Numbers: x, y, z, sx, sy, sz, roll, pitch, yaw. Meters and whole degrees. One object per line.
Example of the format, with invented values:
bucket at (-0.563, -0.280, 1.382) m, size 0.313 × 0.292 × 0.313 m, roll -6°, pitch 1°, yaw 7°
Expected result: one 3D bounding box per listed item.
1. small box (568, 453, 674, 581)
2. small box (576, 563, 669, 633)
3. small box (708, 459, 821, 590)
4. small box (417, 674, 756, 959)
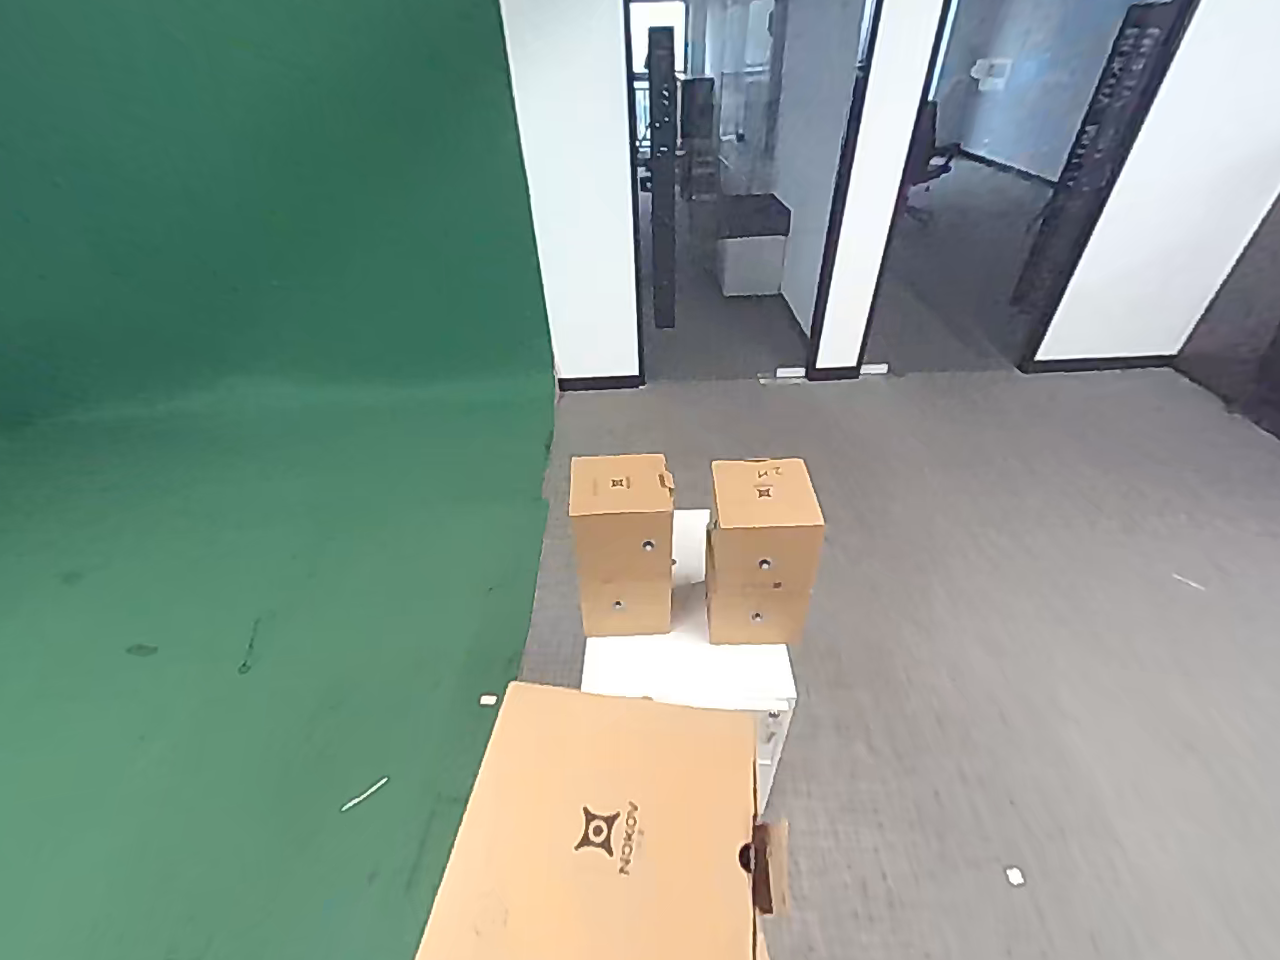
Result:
small box at (-0.036, 0.068, 0.997) m, size 0.179 × 0.176 × 0.168 m, roll -3°, pitch 39°, yaw -3°
small box at (-0.033, 0.196, 1.100) m, size 0.179 × 0.176 × 0.168 m, roll -2°, pitch 40°, yaw -2°
small box at (0.211, 0.082, 0.966) m, size 0.168 × 0.176 × 0.179 m, roll -1°, pitch 39°, yaw 2°
small box at (-0.015, 0.260, 0.377) m, size 0.179 × 0.176 × 0.168 m, roll 4°, pitch 45°, yaw 8°
